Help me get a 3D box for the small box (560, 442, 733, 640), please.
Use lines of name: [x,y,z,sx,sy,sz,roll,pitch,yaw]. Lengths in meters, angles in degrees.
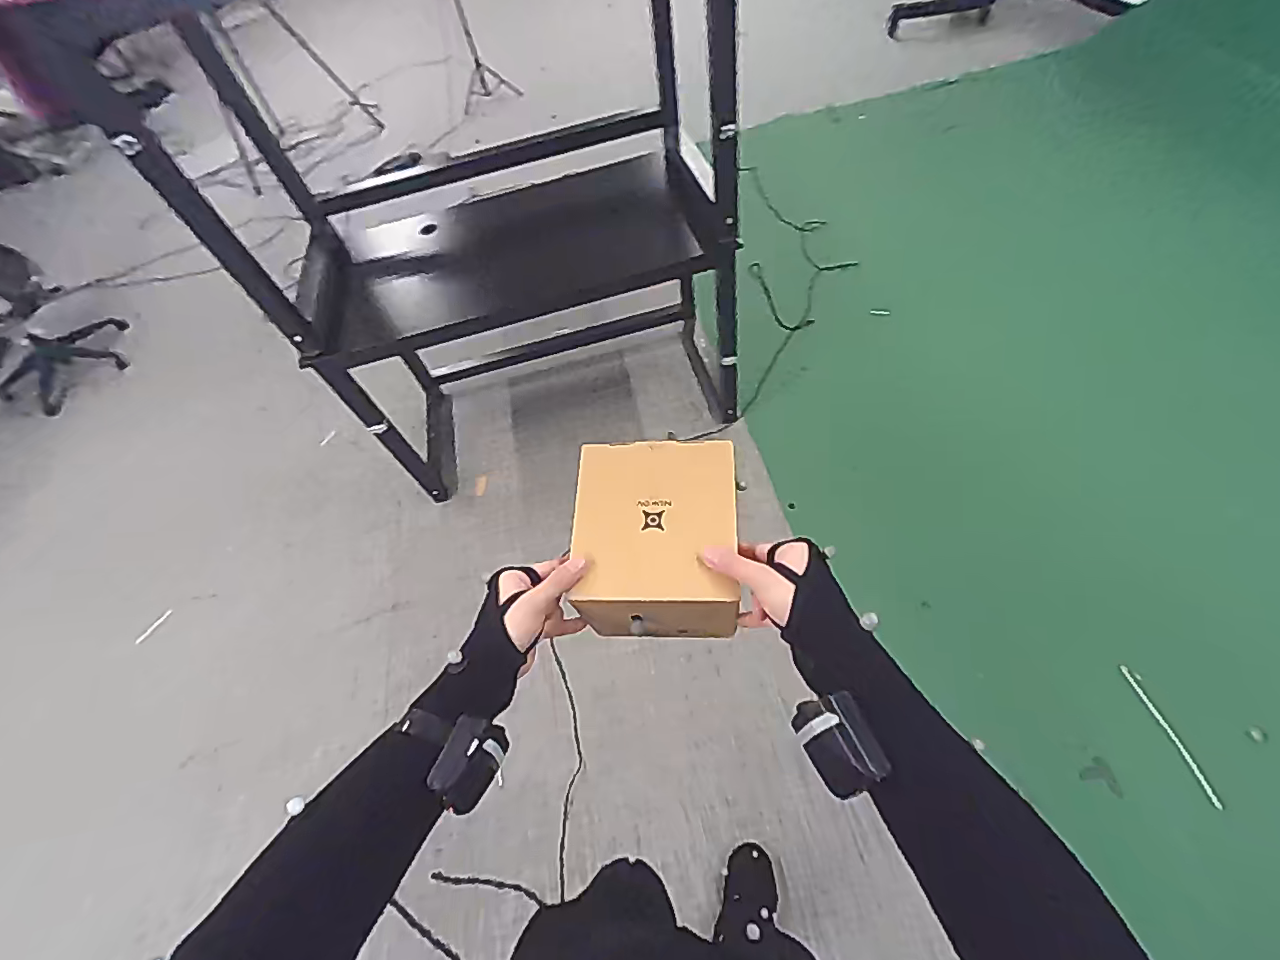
small box: [0.018,0.077,0.607,0.168,0.176,0.179,-2,60,7]
